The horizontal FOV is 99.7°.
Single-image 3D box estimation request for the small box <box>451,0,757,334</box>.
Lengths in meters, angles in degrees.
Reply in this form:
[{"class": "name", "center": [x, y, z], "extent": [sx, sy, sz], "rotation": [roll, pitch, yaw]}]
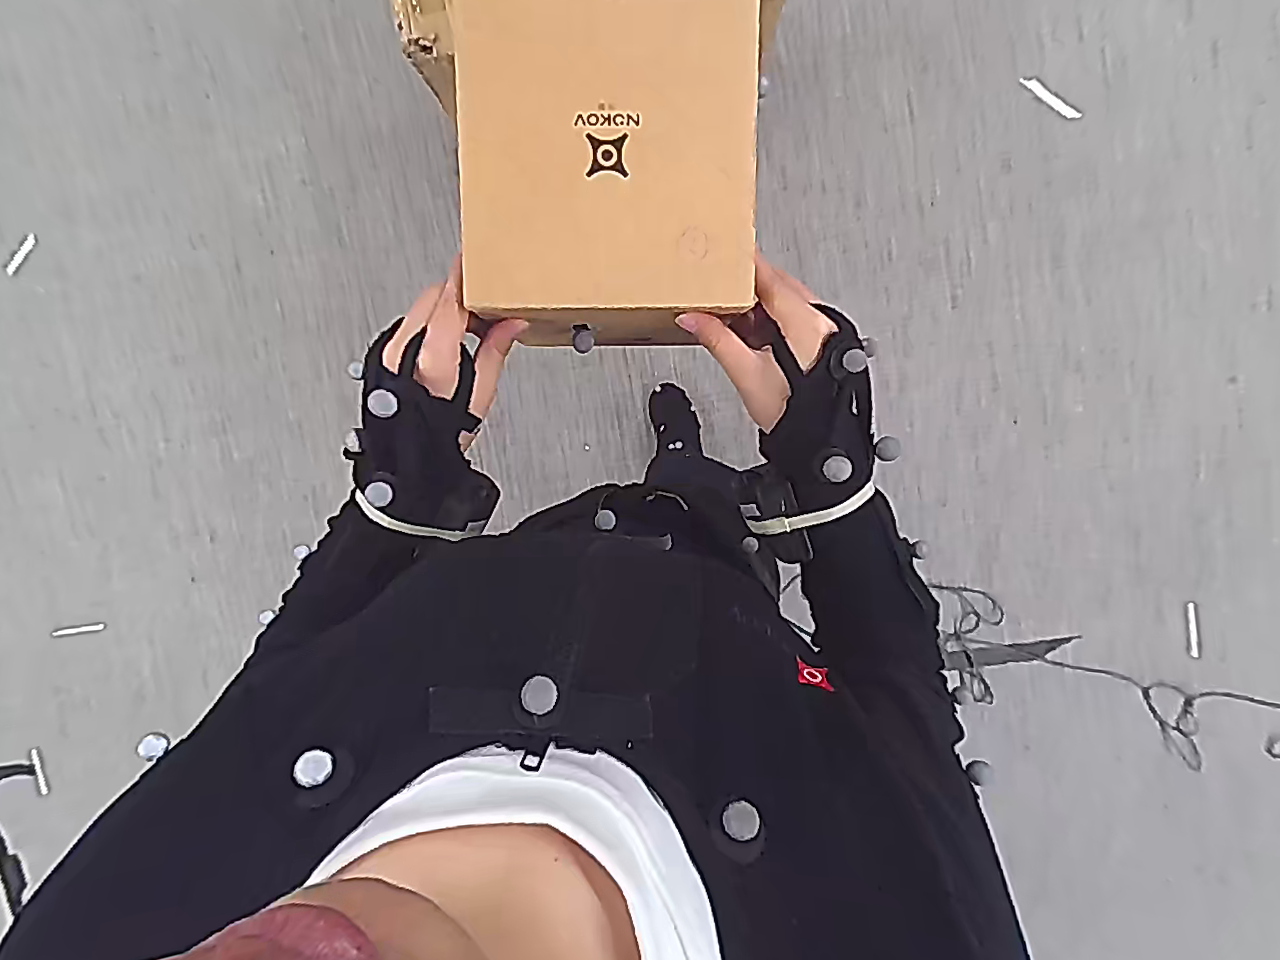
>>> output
[{"class": "small box", "center": [-0.018, -0.200, 0.372], "extent": [0.168, 0.176, 0.179], "rotation": [-1, 95, -1]}]
